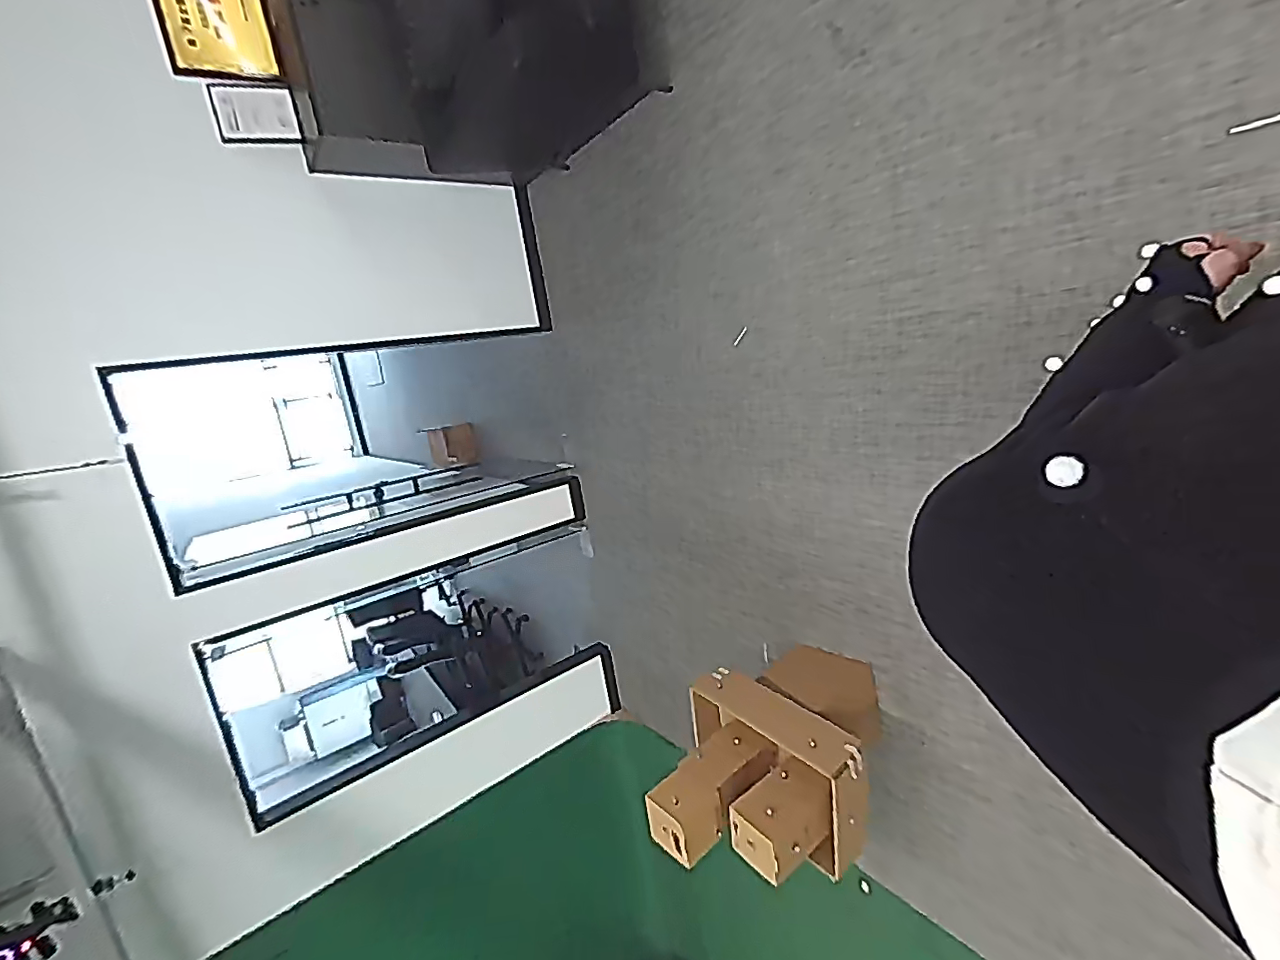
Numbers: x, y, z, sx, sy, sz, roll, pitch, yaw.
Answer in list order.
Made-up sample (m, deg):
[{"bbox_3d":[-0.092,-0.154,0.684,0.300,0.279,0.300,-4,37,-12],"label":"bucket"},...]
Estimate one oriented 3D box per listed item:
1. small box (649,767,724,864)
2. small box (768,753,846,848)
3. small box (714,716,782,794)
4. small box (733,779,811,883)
[{"bbox_3d":[0.155,1.067,1.738,0.179,0.176,0.168,7,109,51],"label":"small box"},{"bbox_3d":[0.539,1.024,1.750,0.179,0.176,0.168,14,116,53],"label":"small box"},{"bbox_3d":[0.392,0.987,1.952,0.179,0.176,0.168,9,111,50],"label":"small box"},{"bbox_3d":[0.410,1.063,1.659,0.179,0.176,0.168,14,114,52],"label":"small box"}]
